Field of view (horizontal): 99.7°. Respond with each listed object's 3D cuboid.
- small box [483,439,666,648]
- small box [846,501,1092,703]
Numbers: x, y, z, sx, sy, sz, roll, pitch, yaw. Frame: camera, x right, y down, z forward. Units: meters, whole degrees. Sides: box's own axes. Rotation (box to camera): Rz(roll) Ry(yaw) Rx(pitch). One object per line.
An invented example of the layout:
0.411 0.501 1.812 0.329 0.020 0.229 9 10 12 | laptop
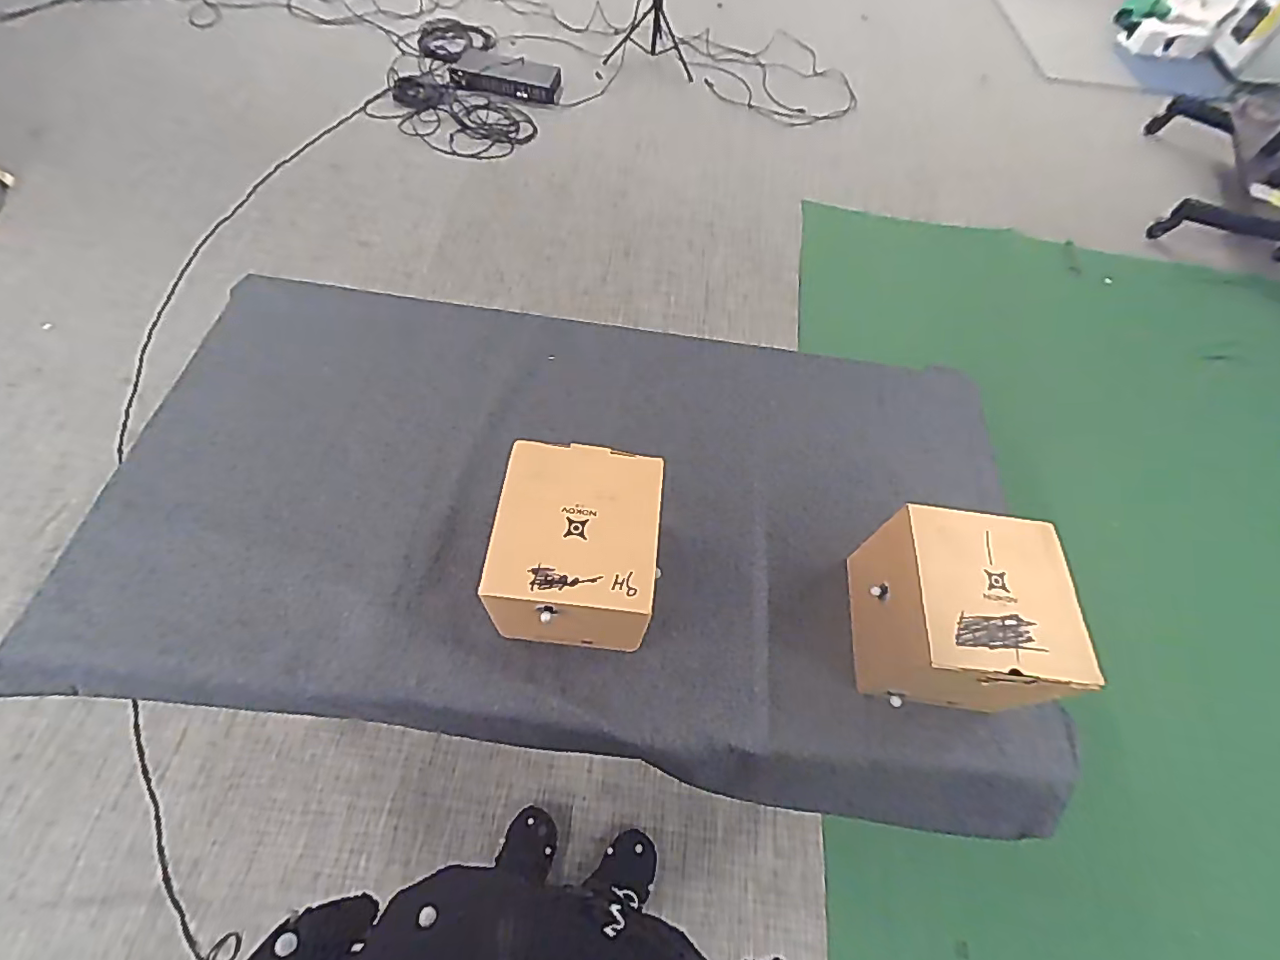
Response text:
-0.068 0.079 0.623 0.168 0.176 0.179 7 60 -2 | small box
0.354 0.148 0.623 0.168 0.176 0.179 8 59 0 | small box
